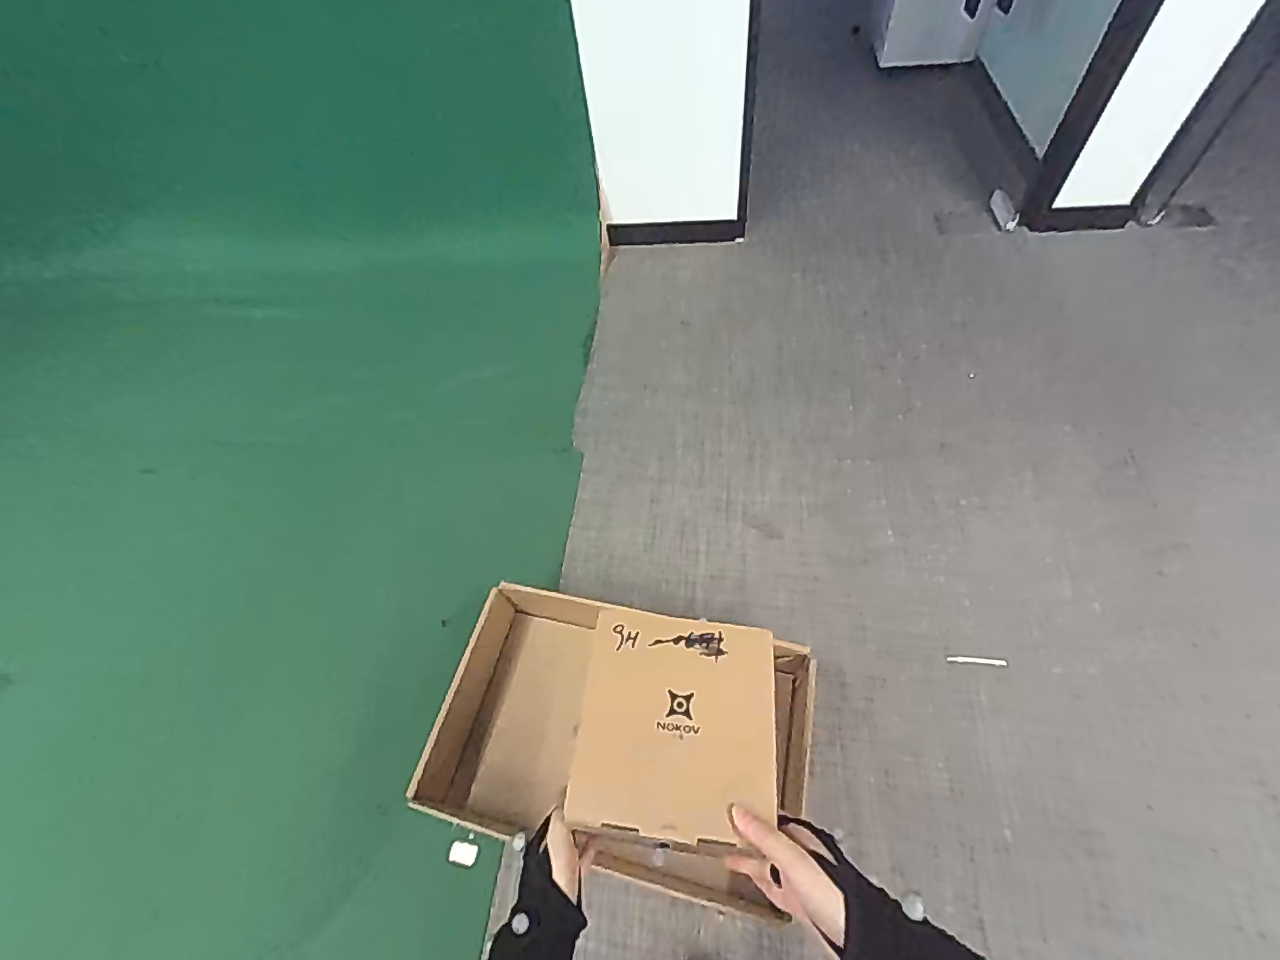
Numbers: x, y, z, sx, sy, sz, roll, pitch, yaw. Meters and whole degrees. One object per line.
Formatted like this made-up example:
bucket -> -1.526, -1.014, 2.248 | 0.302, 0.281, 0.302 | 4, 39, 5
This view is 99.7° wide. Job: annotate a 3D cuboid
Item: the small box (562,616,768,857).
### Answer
small box -> 0.029, 0.256, 0.532 | 0.168, 0.176, 0.179 | 6, 54, 4
